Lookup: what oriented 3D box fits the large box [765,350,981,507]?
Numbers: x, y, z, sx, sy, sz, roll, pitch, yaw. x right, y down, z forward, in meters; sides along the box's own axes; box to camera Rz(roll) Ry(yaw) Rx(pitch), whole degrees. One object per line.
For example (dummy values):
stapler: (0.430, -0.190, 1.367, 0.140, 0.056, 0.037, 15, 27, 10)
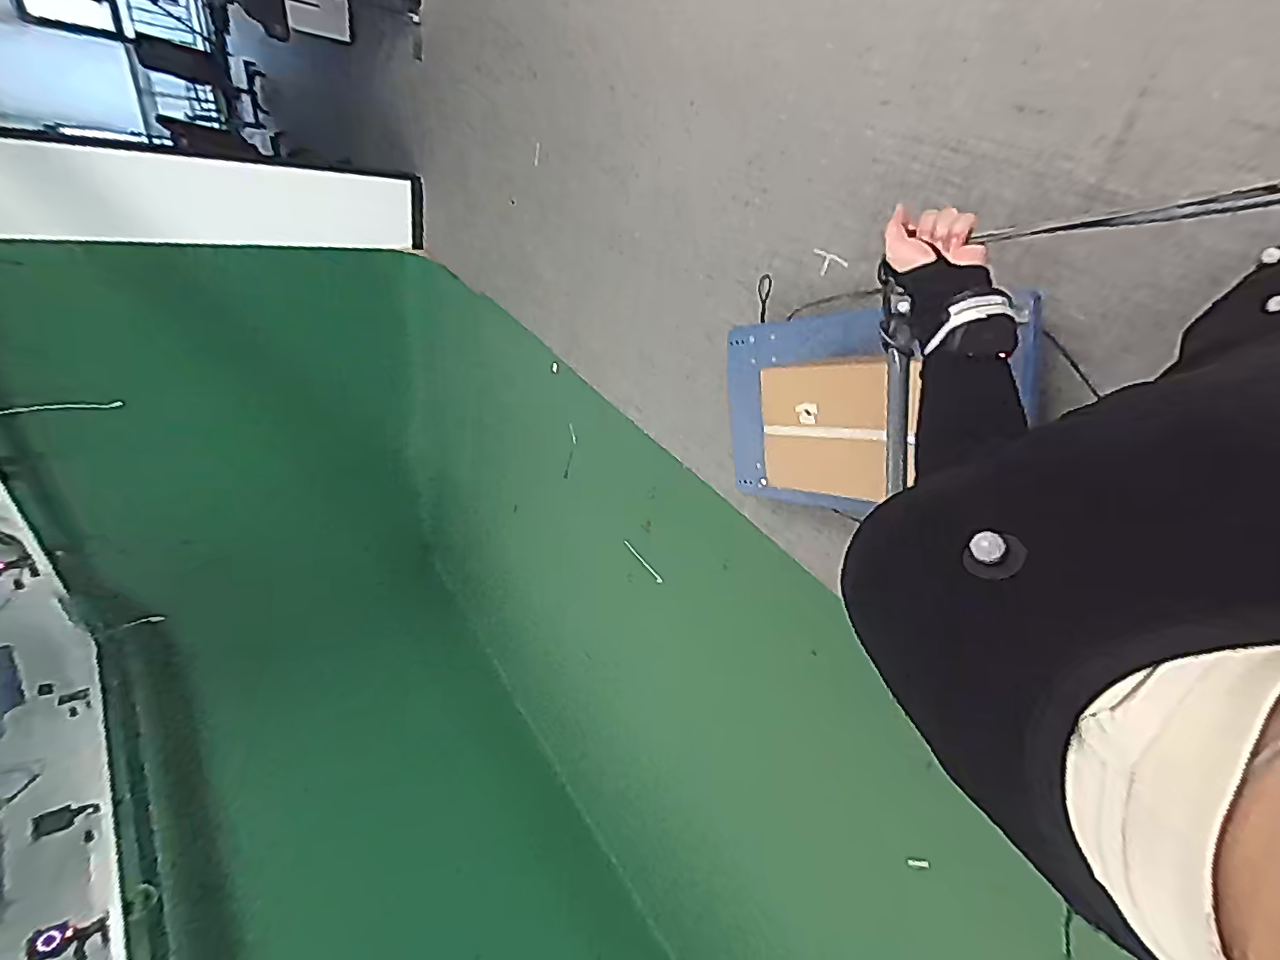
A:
large box: (0.576, -0.141, 1.351, 0.408, 0.320, 0.320, 10, 110, 50)
